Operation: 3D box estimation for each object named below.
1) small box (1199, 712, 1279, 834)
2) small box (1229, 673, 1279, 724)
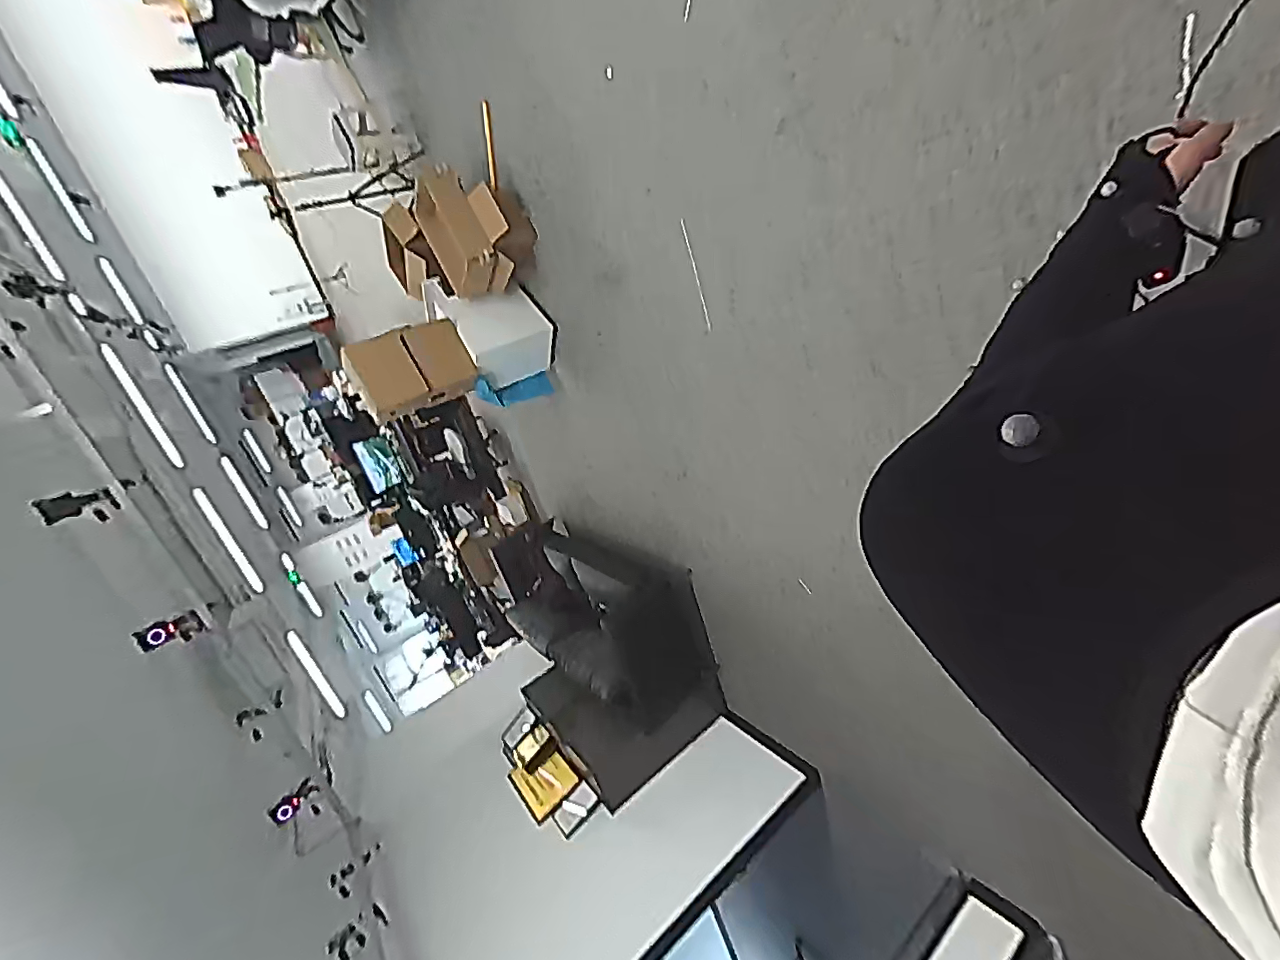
[{"bbox_3d":[1.435,0.667,1.235,0.179,0.176,0.168,16,129,53],"label":"small box"},{"bbox_3d":[1.564,0.598,1.304,0.179,0.176,0.168,17,130,53],"label":"small box"}]
